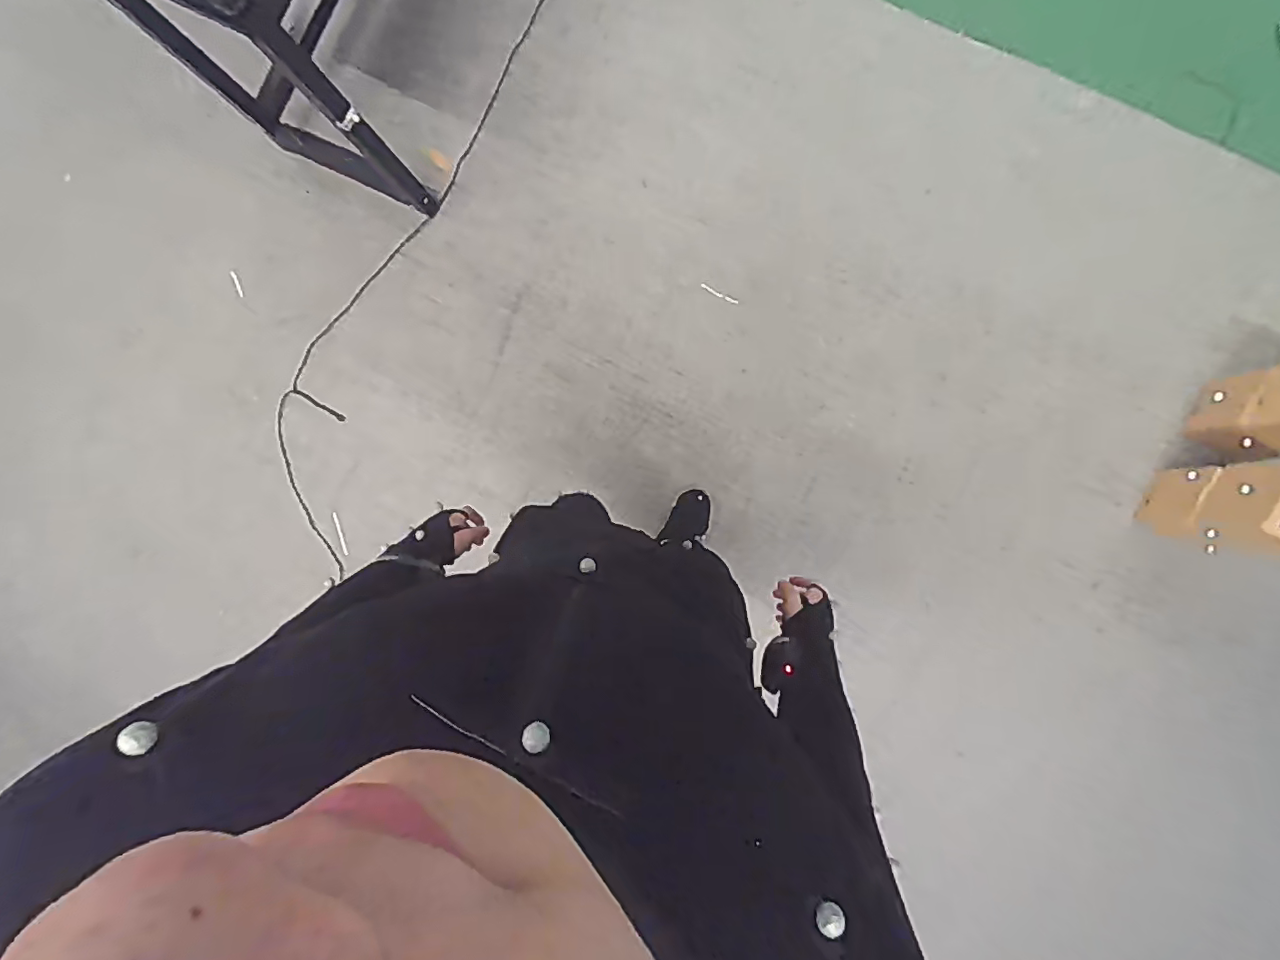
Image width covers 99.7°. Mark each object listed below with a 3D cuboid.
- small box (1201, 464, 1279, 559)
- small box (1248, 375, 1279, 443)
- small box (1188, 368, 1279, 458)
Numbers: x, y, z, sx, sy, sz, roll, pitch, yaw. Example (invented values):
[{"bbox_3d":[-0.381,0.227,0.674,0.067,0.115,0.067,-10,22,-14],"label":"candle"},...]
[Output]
[{"bbox_3d":[1.491,0.078,1.261,0.168,0.176,0.179,31,91,4],"label":"small box"},{"bbox_3d":[1.608,-0.167,1.257,0.179,0.176,0.168,28,91,4],"label":"small box"},{"bbox_3d":[1.623,-0.166,1.419,0.179,0.176,0.168,30,93,5],"label":"small box"}]
